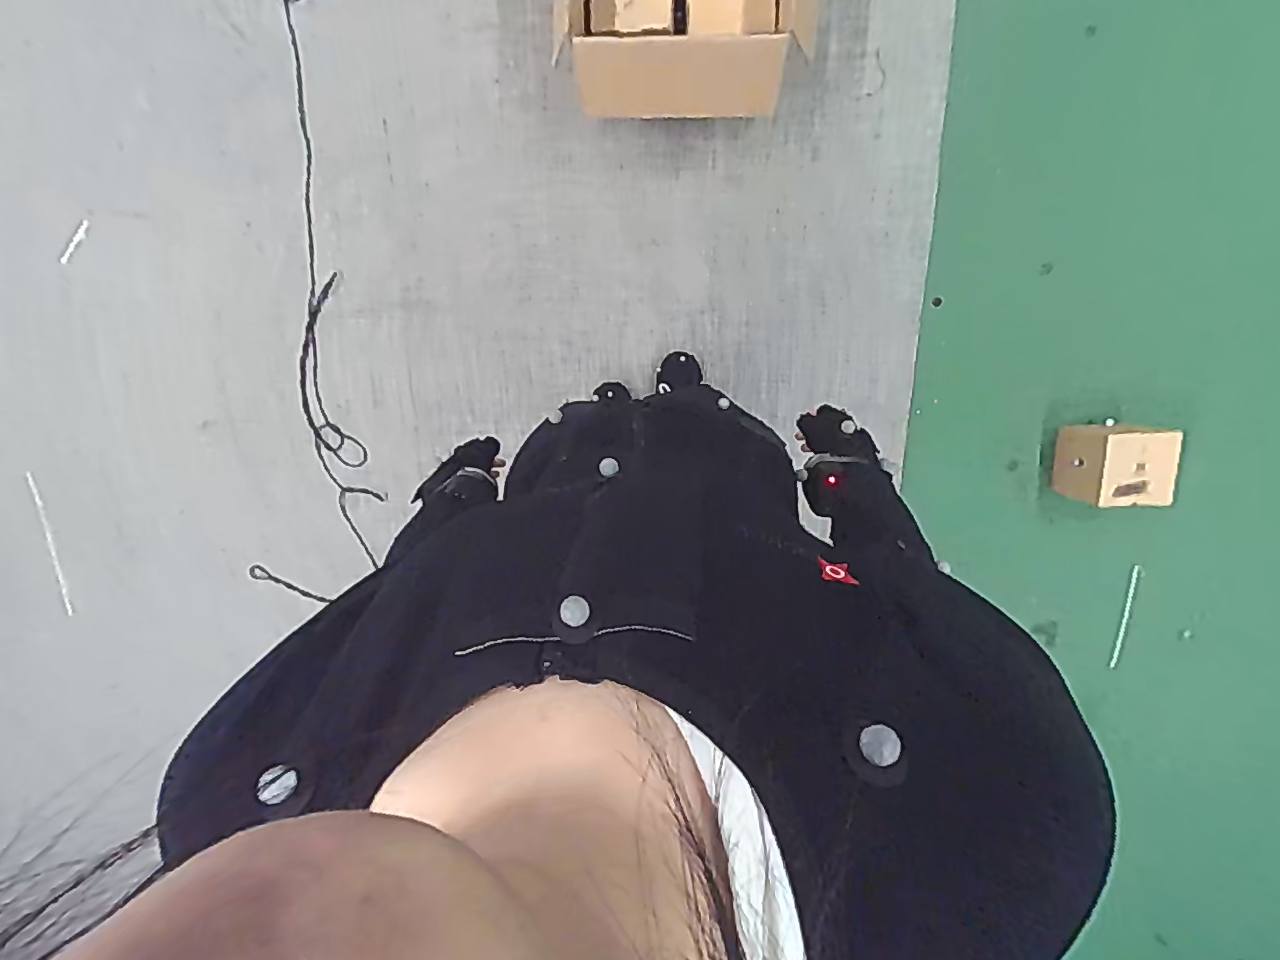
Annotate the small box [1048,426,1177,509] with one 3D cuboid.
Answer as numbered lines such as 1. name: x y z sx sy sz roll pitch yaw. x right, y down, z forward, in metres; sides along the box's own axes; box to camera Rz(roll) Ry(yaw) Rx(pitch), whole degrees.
1. small box: 1.155 -0.035 1.337 0.168 0.176 0.179 -2 102 3
